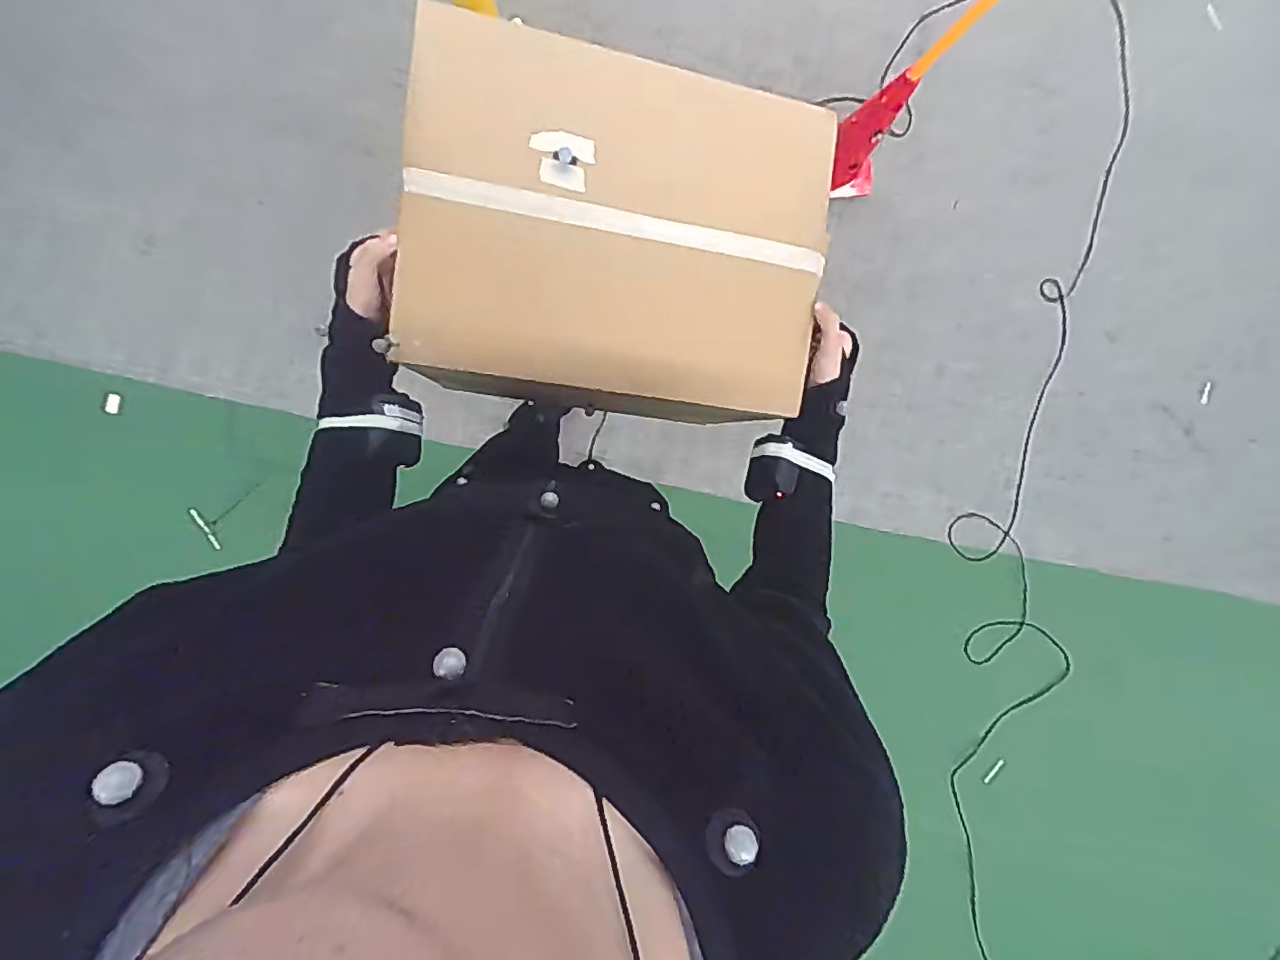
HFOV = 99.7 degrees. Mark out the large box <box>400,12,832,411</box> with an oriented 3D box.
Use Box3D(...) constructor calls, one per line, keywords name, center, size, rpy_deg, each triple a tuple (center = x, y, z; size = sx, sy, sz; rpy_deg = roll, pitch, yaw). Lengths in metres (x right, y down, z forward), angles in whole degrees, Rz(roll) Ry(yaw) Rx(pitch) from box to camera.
Box3D(name="large box", center=(-0.038, -0.261, 0.673), size=(0.408, 0.320, 0.320), rpy_deg=(7, 93, -11))
